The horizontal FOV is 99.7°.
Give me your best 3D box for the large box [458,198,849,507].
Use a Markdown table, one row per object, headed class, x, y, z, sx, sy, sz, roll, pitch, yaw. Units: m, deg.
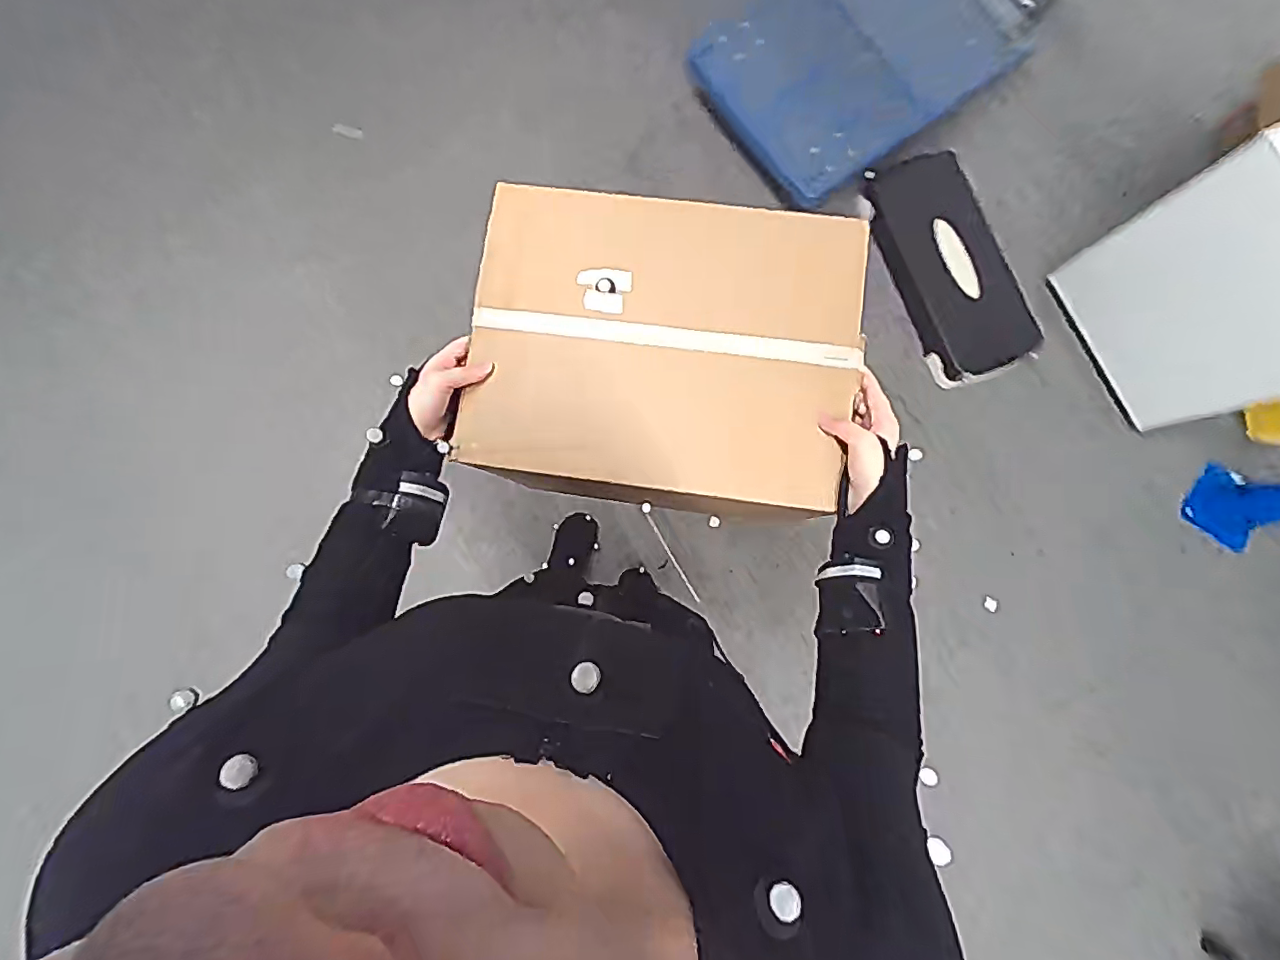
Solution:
| class | x | y | z | sx | sy | sz | roll | pitch | yaw |
| --- | --- | --- | --- | --- | --- | --- | --- | --- | --- |
| large box | 0.027 | -0.136 | 0.726 | 0.408 | 0.320 | 0.320 | 6 | 84 | 5 |
